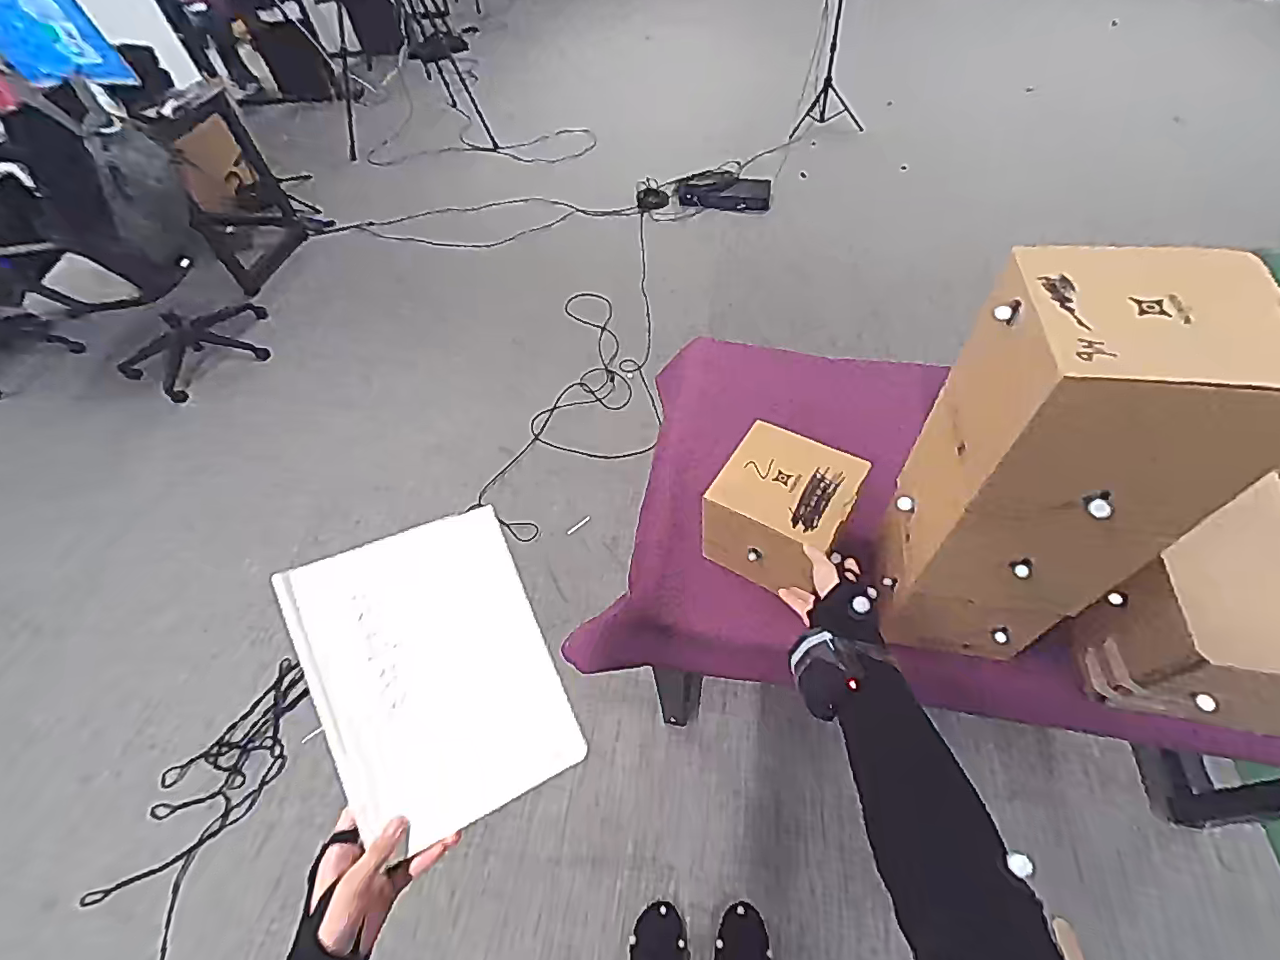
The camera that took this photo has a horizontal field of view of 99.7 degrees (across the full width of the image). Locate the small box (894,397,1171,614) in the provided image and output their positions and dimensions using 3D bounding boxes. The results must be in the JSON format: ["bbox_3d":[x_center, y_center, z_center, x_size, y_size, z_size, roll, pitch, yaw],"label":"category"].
[{"bbox_3d":[0.399,0.031,0.591,0.179,0.176,0.168,7,53,11],"label":"small box"}]

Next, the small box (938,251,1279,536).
[{"bbox_3d":[0.385,-0.069,0.462,0.179,0.176,0.168,7,52,10],"label":"small box"}]
